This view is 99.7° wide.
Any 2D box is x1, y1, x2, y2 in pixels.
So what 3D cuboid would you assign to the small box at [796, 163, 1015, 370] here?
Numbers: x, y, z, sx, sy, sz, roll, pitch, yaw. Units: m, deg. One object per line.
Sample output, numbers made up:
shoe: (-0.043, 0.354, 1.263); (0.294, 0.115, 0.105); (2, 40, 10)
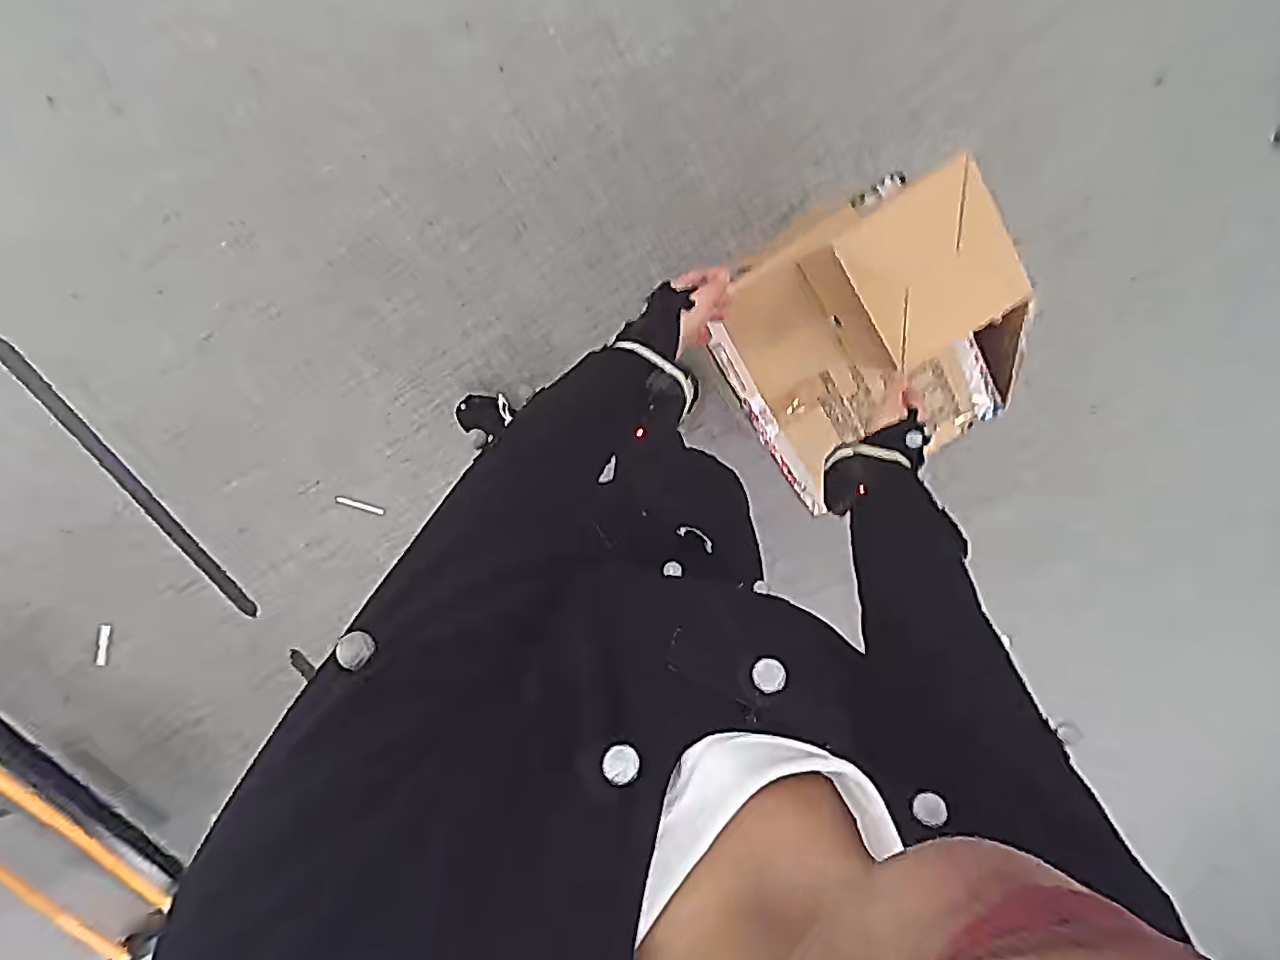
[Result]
small box: (0.328, -0.257, 0.687); (0.168, 0.176, 0.179); (-32, 103, 10)
